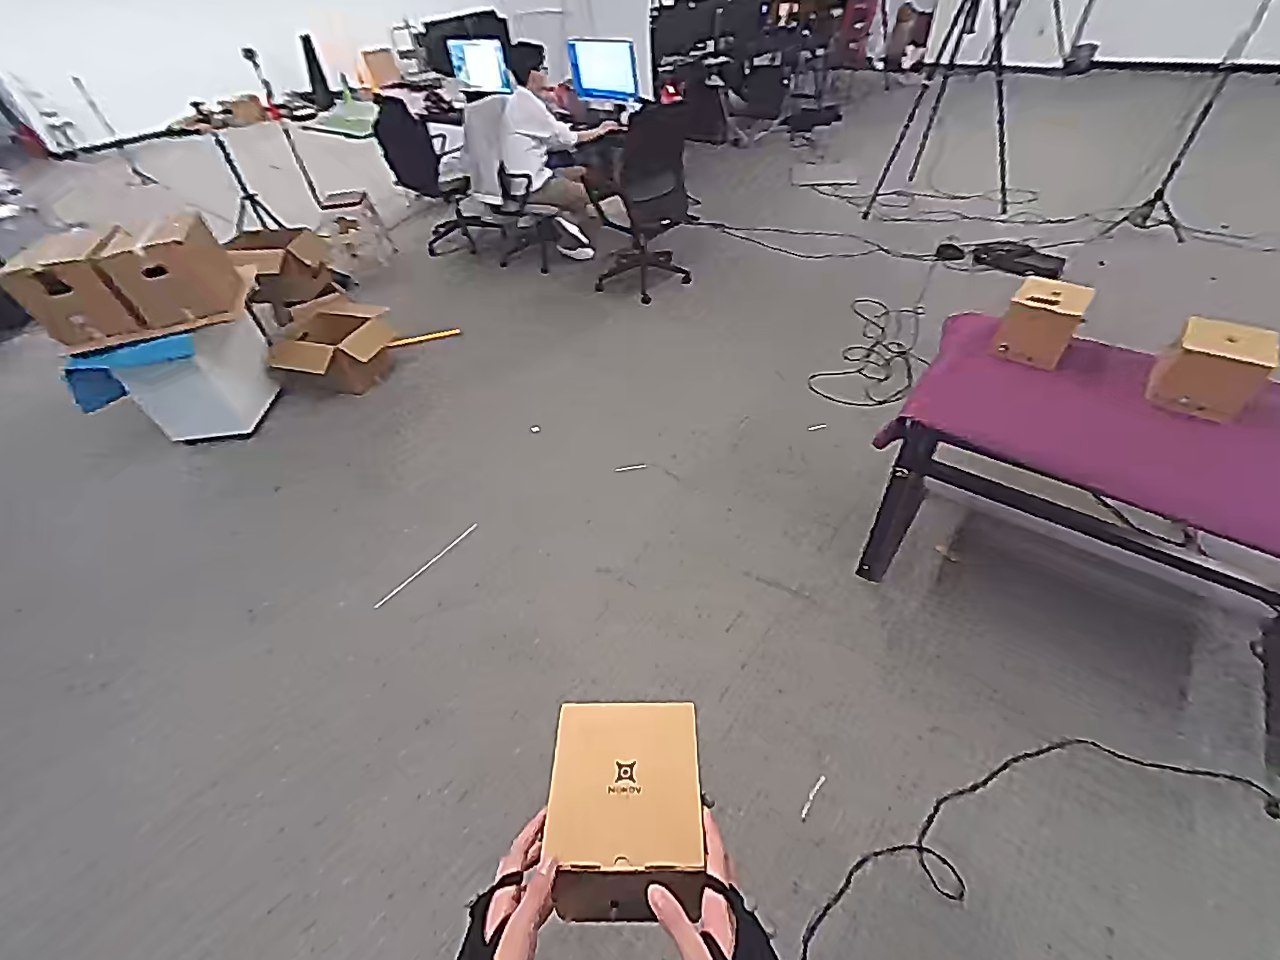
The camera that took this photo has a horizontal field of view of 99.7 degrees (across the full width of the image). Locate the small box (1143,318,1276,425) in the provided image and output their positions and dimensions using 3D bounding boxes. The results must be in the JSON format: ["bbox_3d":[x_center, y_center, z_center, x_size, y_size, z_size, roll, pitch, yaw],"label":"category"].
[{"bbox_3d":[1.378,-0.264,1.316,0.168,0.176,0.179,27,54,30],"label":"small box"}]

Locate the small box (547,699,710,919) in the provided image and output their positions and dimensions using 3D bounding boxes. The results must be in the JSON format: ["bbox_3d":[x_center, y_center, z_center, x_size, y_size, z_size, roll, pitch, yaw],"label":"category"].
[{"bbox_3d":[-0.009,0.388,0.646,0.168,0.176,0.179,0,38,2],"label":"small box"}]

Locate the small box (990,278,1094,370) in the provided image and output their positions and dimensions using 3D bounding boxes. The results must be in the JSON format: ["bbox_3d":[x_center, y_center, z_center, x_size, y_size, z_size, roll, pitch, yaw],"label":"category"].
[{"bbox_3d":[1.113,-0.433,1.508,0.168,0.176,0.179,29,55,30],"label":"small box"}]
